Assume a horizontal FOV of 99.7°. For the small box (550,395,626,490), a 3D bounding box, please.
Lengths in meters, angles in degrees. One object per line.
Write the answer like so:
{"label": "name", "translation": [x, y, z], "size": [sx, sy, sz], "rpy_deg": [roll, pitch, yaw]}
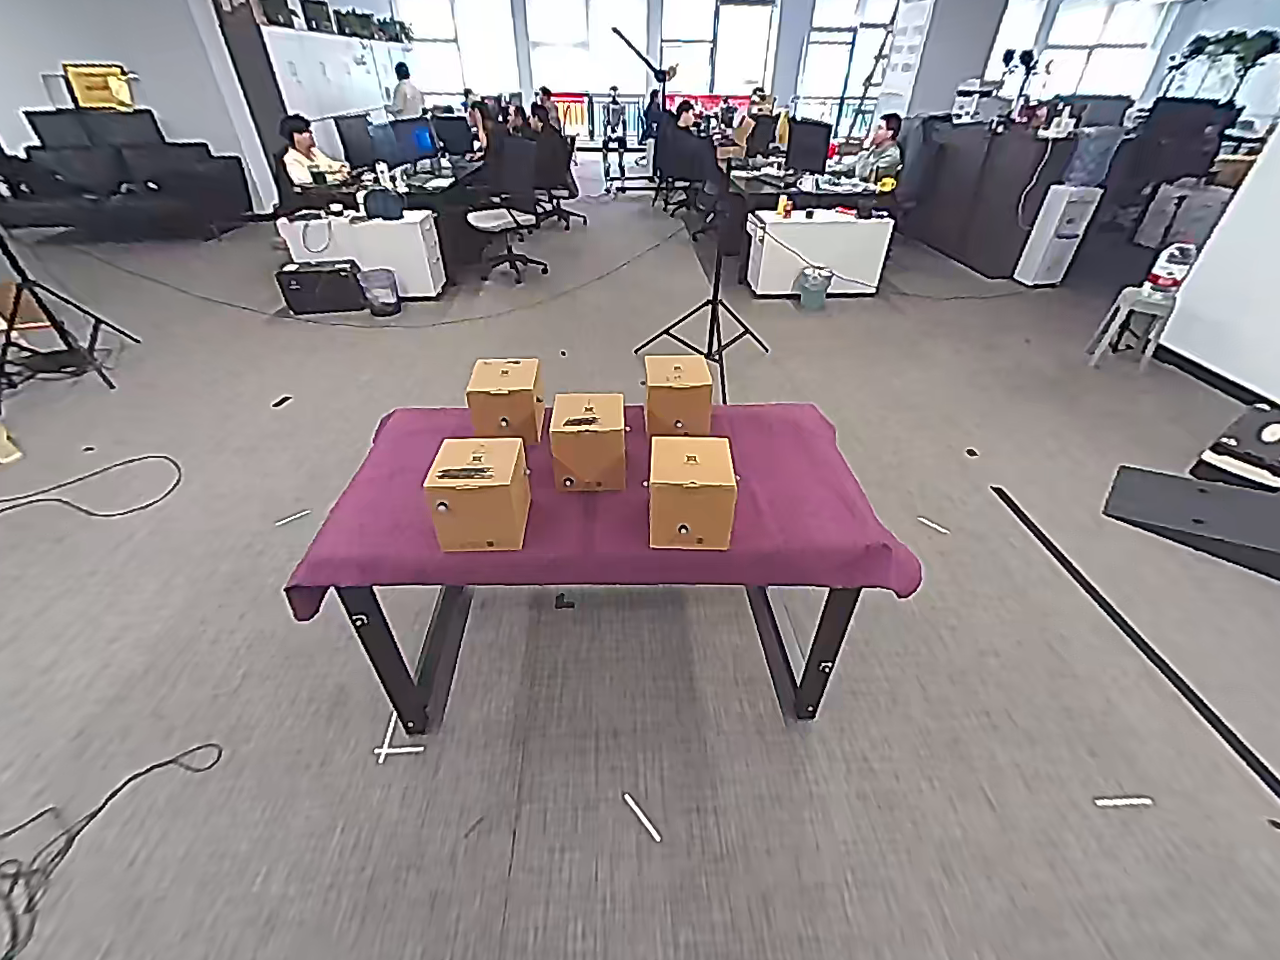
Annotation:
{"label": "small box", "translation": [-0.117, -0.088, 1.298], "size": [0.168, 0.176, 0.179], "rpy_deg": [-1, 36, -2]}

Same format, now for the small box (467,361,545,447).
{"label": "small box", "translation": [-0.348, -0.200, 1.441], "size": [0.168, 0.176, 0.179], "rpy_deg": [-1, 39, -3]}

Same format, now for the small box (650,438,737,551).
{"label": "small box", "translation": [0.106, 0.028, 1.145], "size": [0.168, 0.176, 0.179], "rpy_deg": [1, 36, 1]}

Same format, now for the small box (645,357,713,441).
{"label": "small box", "translation": [0.099, -0.220, 1.470], "size": [0.168, 0.176, 0.179], "rpy_deg": [-2, 38, -2]}
